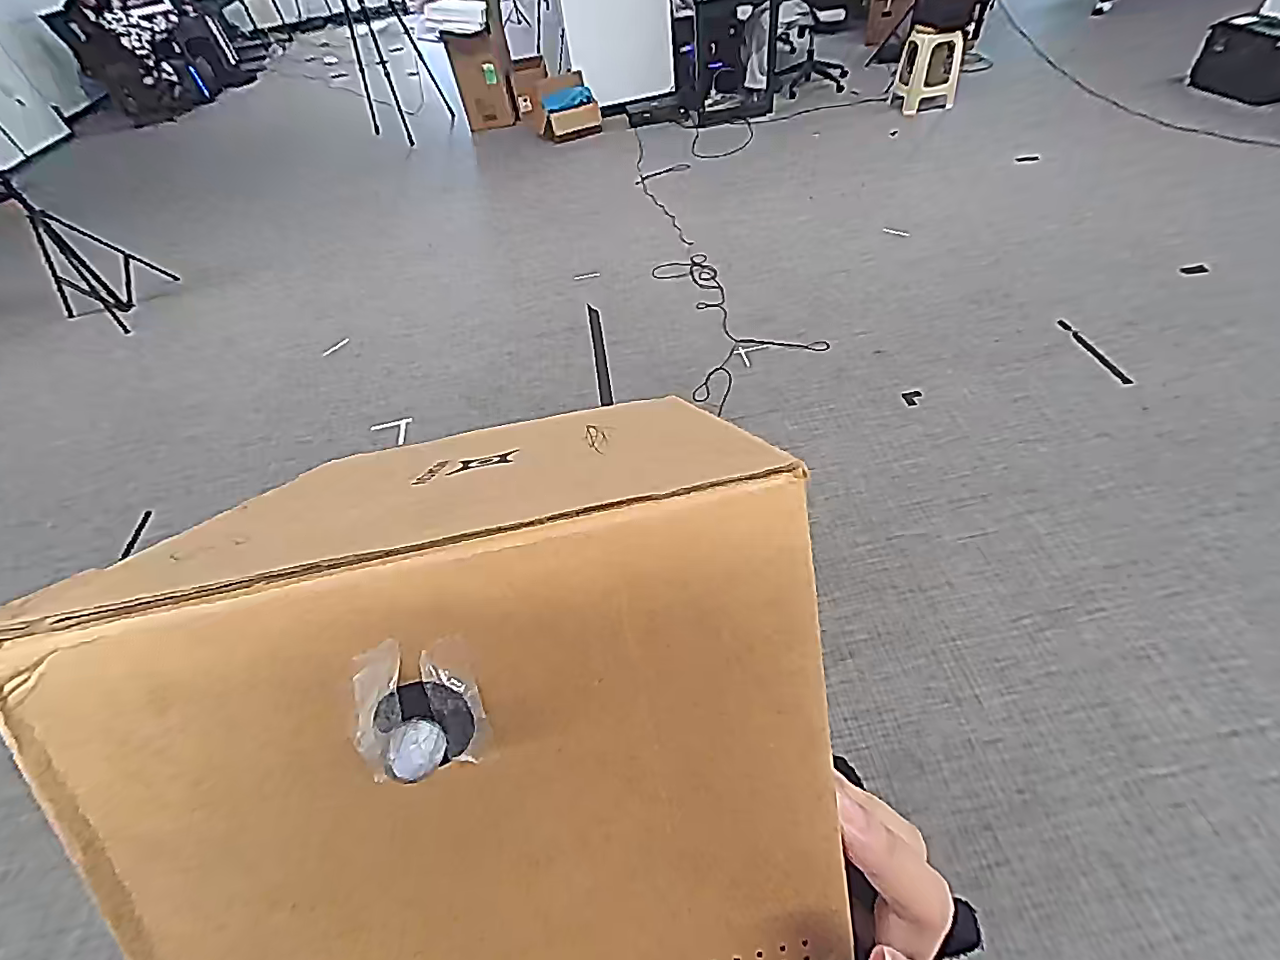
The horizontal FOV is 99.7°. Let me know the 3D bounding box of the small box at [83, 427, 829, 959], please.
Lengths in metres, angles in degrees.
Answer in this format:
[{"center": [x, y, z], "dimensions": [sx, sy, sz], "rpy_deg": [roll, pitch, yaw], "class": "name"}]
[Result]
[{"center": [-0.041, 0.085, 0.226], "dimensions": [0.179, 0.176, 0.168], "rpy_deg": [-11, 15, -3], "class": "small box"}]
